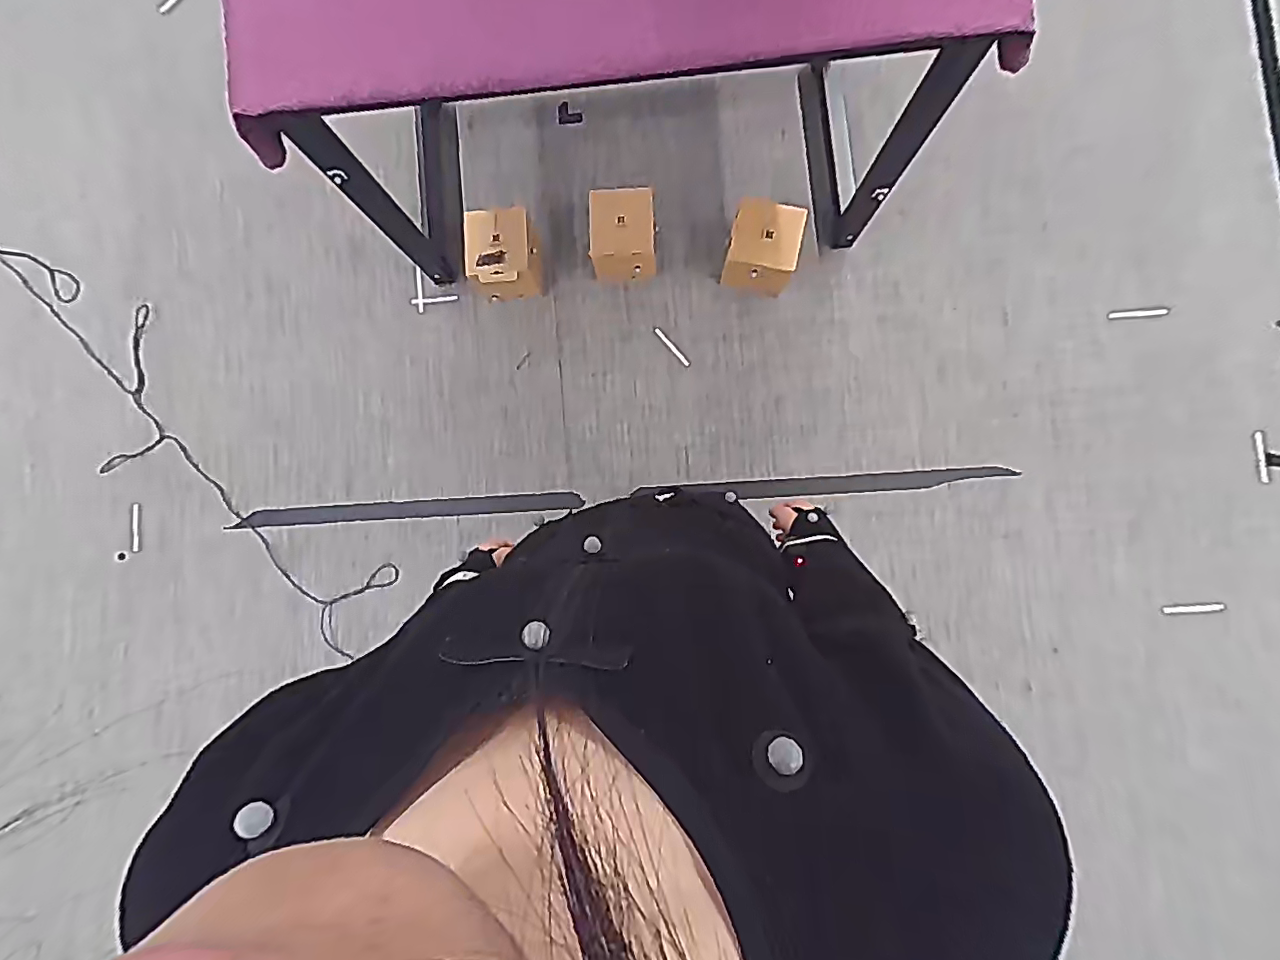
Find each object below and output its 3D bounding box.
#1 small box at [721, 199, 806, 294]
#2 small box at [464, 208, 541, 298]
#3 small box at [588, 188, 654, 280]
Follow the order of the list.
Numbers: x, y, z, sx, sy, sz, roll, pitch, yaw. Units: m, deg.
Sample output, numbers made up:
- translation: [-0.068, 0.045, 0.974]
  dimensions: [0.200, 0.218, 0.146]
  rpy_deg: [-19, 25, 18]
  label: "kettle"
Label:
- translation: [0.323, -0.615, 1.448]
  dimensions: [0.179, 0.176, 0.168]
  rpy_deg: [13, 88, 4]
  label: "small box"
- translation: [-0.368, -0.608, 1.472]
  dimensions: [0.168, 0.176, 0.179]
  rpy_deg: [-3, 86, 2]
  label: "small box"
- translation: [-0.048, -0.655, 1.464]
  dimensions: [0.168, 0.176, 0.179]
  rpy_deg: [-3, 86, 1]
  label: "small box"
